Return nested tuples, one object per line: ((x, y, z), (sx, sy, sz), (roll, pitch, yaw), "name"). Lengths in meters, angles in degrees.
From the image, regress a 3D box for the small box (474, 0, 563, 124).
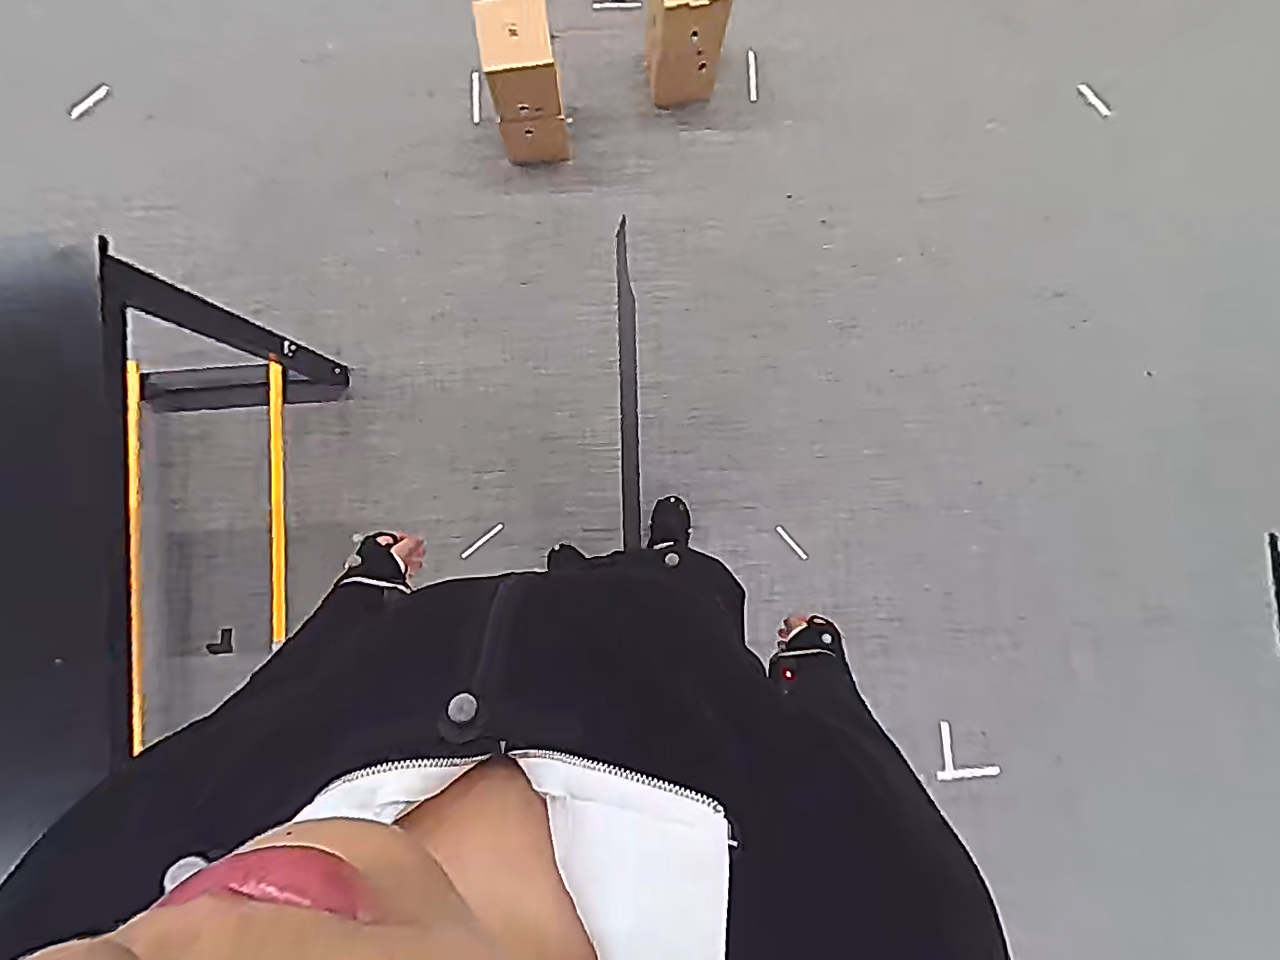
((-0.288, -1.009, 1.307), (0.168, 0.176, 0.179), (-9, 89, 0), "small box")

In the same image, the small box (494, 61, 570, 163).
((-0.292, -0.991, 1.469), (0.179, 0.176, 0.168), (-6, 88, -2), "small box")

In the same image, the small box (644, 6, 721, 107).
((0.111, -1.172, 1.489), (0.179, 0.176, 0.168), (-9, 88, -2), "small box")

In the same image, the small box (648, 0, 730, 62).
((0.114, -1.170, 1.325), (0.168, 0.176, 0.179), (-10, 88, -2), "small box")
